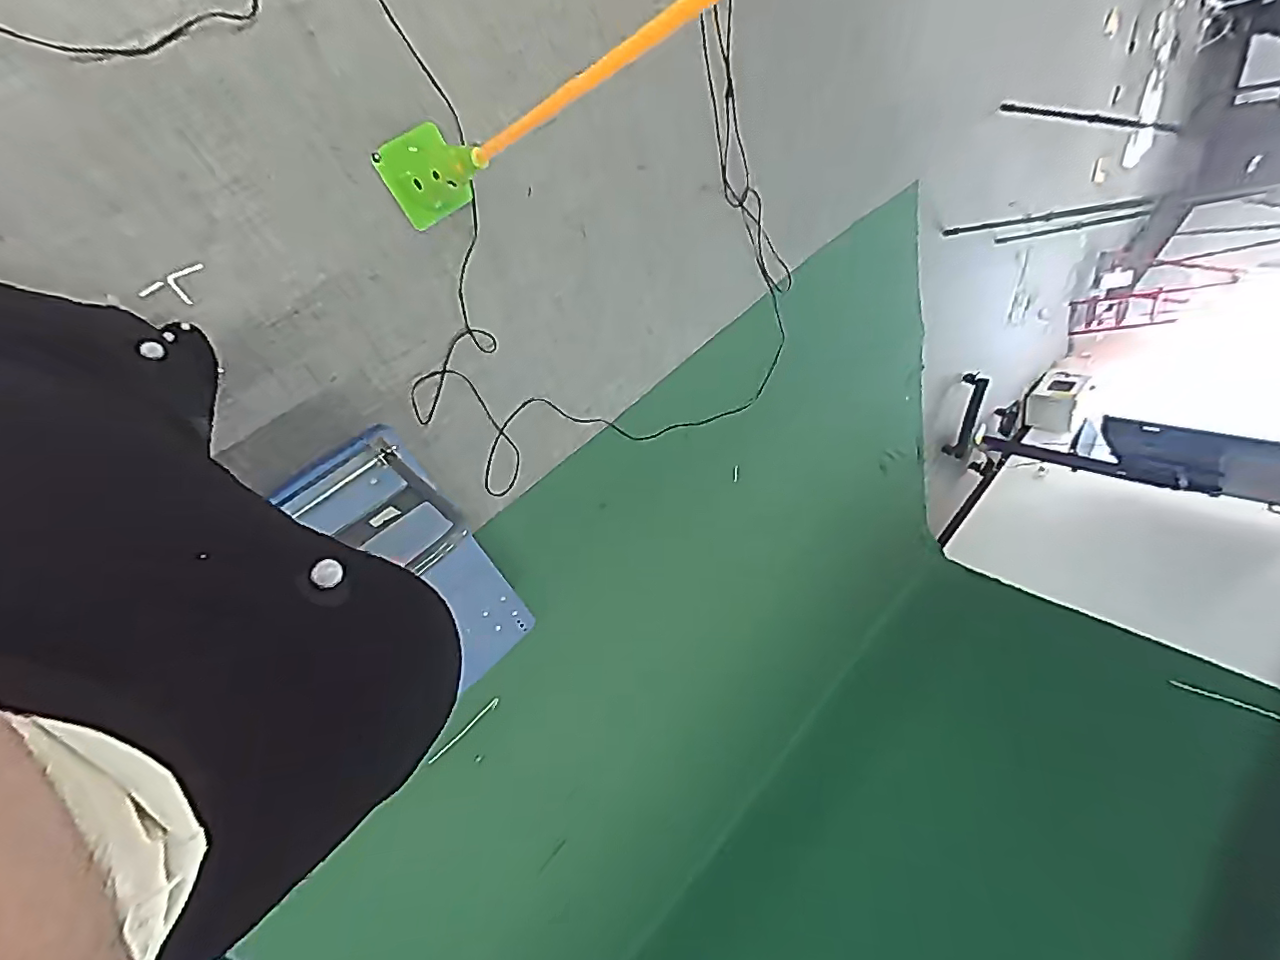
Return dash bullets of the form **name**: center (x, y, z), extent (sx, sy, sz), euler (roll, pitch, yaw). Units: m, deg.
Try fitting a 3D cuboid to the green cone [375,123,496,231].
- **green cone**: center (-0.444, -0.738, 1.287), extent (0.202, 0.368, 0.200), euler (-46, 131, -19)
